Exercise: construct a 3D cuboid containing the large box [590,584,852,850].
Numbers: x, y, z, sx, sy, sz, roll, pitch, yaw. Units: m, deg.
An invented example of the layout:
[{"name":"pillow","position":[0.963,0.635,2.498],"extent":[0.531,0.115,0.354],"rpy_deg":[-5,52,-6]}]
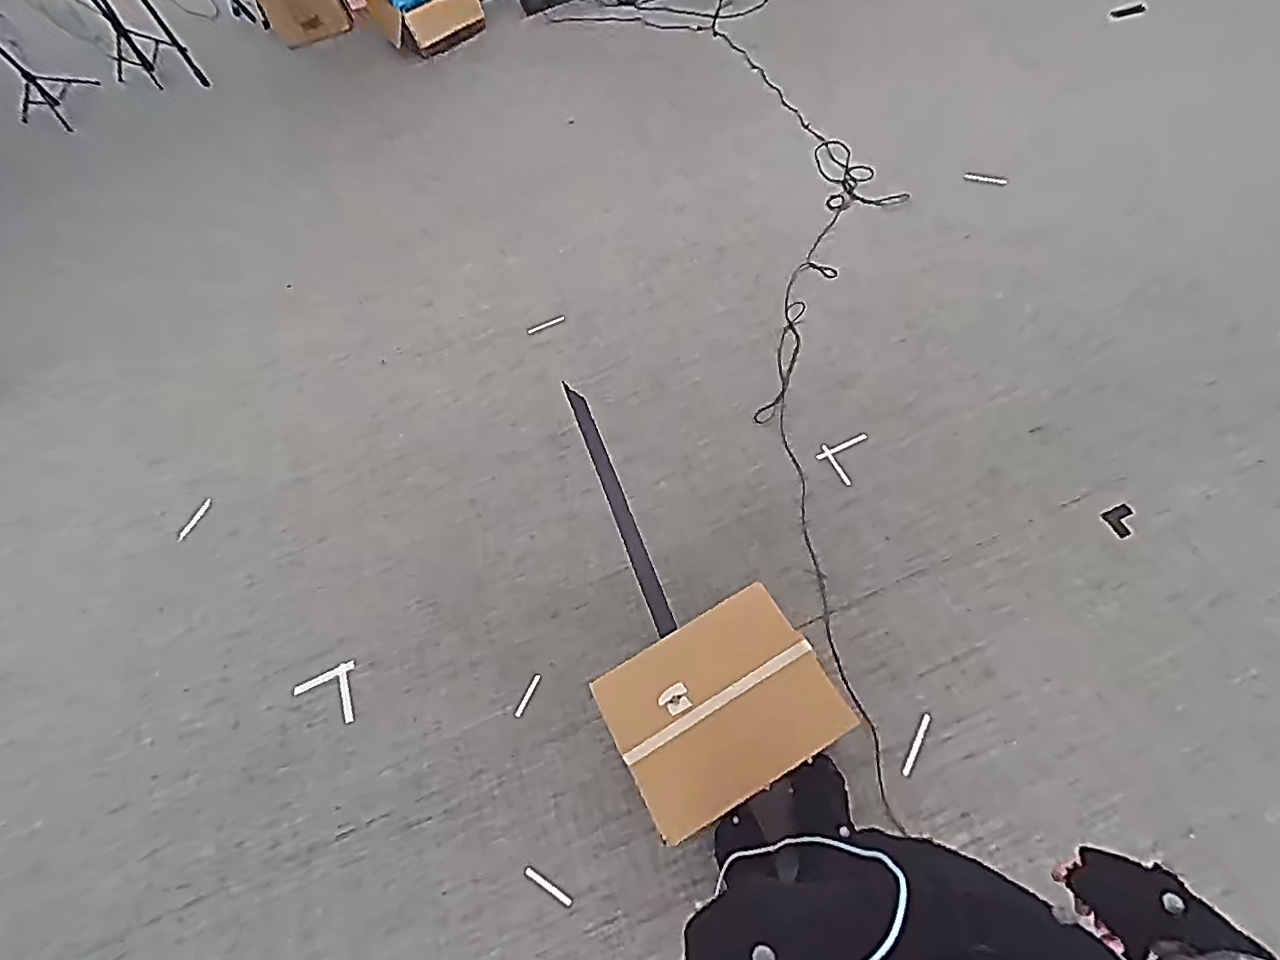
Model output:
[{"name":"large box","position":[0.168,0.486,1.145],"extent":[0.408,0.320,0.320],"rpy_deg":[-31,61,-4]}]
